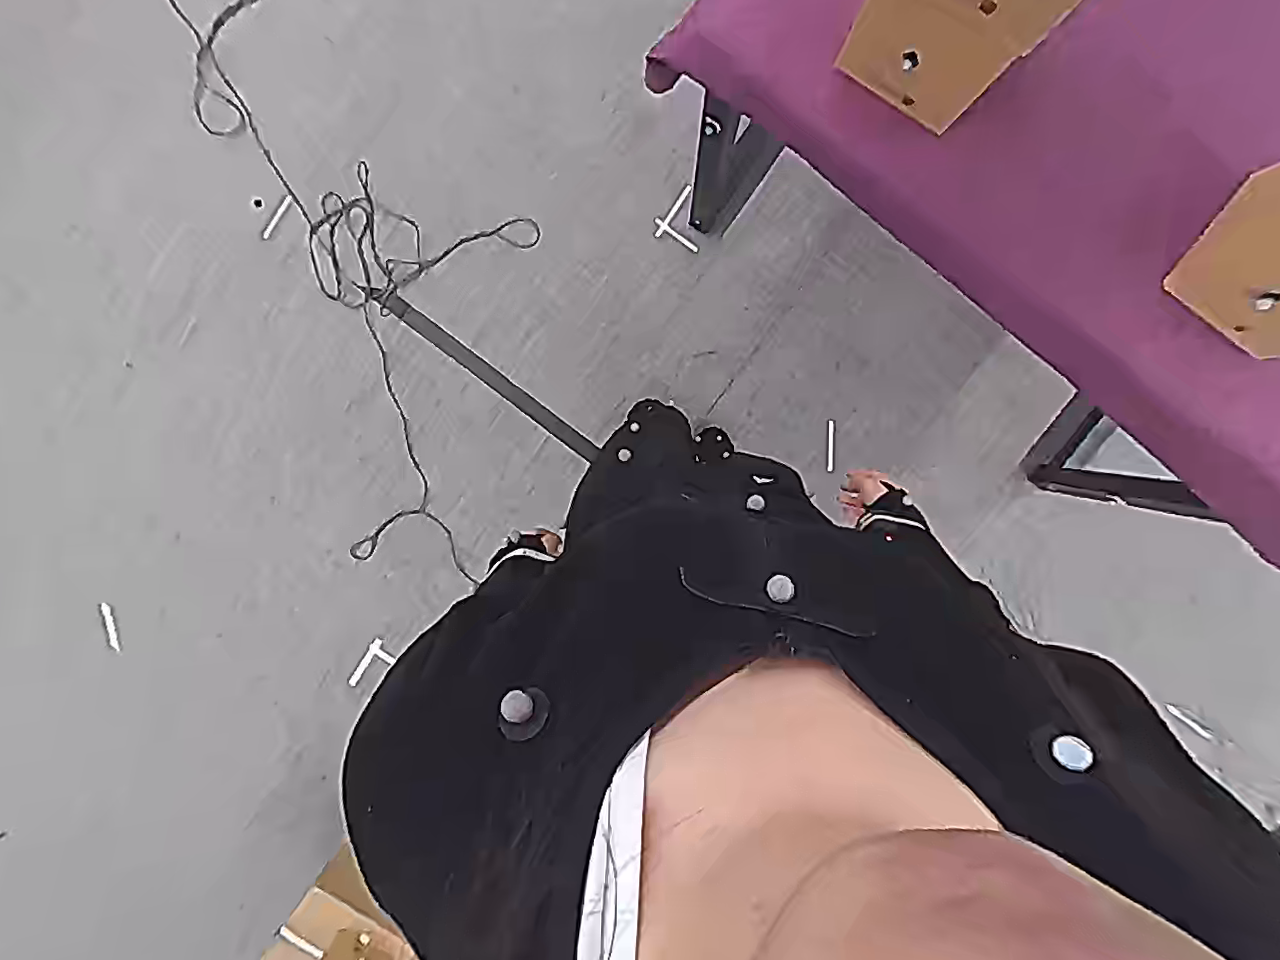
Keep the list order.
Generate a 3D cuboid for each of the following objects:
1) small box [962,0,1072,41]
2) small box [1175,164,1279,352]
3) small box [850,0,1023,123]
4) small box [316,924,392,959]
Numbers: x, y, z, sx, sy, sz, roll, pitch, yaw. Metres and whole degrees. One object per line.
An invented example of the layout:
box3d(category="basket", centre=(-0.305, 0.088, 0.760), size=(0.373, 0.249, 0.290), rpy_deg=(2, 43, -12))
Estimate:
box3d(category="small box", centre=(0.355, -0.531, 0.447), size=(0.168, 0.176, 0.179), rpy_deg=(31, 96, -2))
box3d(category="small box", centre=(0.796, -0.269, 0.626), size=(0.168, 0.176, 0.179), rpy_deg=(37, 96, -2))
box3d(category="small box", centre=(0.364, -0.556, 0.607), size=(0.168, 0.176, 0.179), rpy_deg=(33, 96, -2))
box3d(category="small box", centre=(-0.735, 1.241, 1.300), size=(0.168, 0.176, 0.179), rpy_deg=(33, 96, -2))
